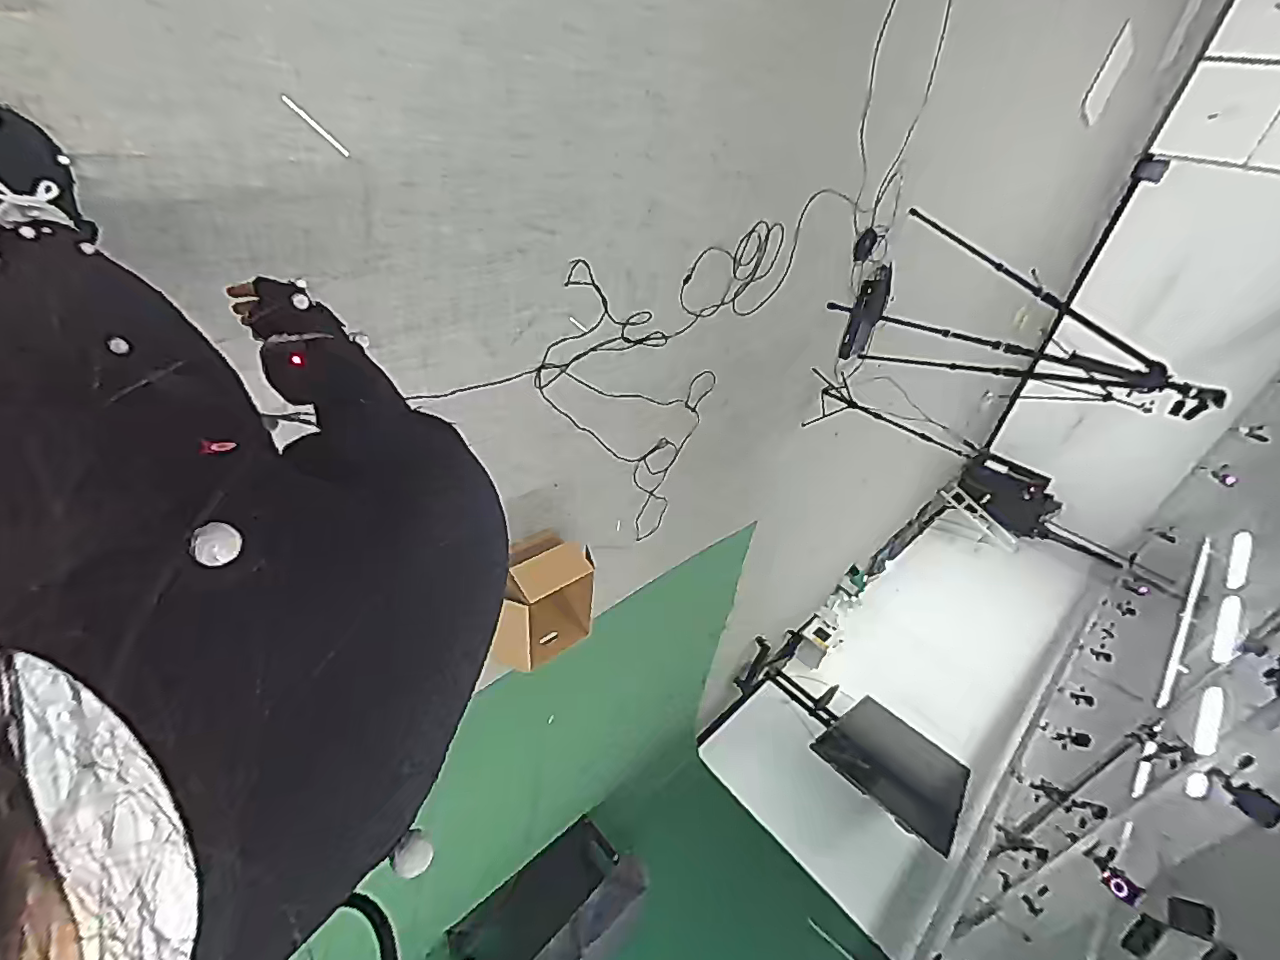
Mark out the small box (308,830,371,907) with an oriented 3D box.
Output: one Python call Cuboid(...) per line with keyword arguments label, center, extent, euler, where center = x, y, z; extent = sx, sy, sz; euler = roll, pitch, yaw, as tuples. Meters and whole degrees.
Cuboid(label="small box", center=(-1.283, 1.648, 2.298), extent=(0.179, 0.176, 0.168), euler=(-28, 139, -35))
